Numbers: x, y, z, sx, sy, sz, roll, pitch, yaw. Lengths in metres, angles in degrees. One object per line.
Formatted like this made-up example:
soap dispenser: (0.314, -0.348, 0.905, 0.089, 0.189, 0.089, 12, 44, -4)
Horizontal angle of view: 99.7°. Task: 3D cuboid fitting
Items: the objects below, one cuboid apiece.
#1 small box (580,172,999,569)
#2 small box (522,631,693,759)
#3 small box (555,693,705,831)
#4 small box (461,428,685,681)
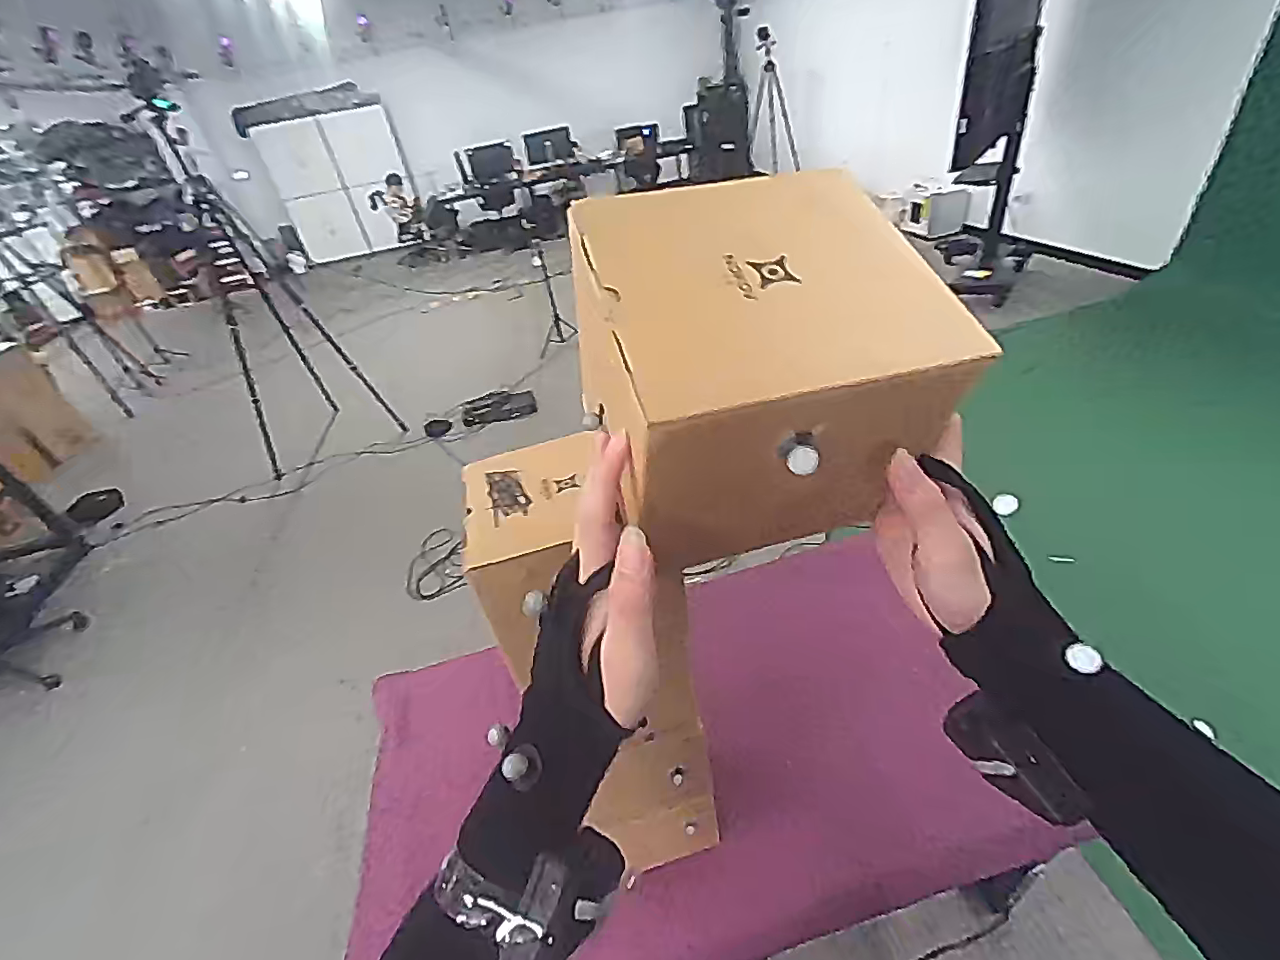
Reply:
small box: (0.066, -0.062, 0.349, 0.179, 0.176, 0.168, -12, 59, -8)
small box: (-0.044, 0.200, 0.642, 0.168, 0.176, 0.179, -16, 37, -8)
small box: (-0.017, 0.333, 0.732, 0.179, 0.176, 0.168, -16, 36, -6)
small box: (-0.066, 0.071, 0.543, 0.179, 0.176, 0.168, -15, 36, -8)
